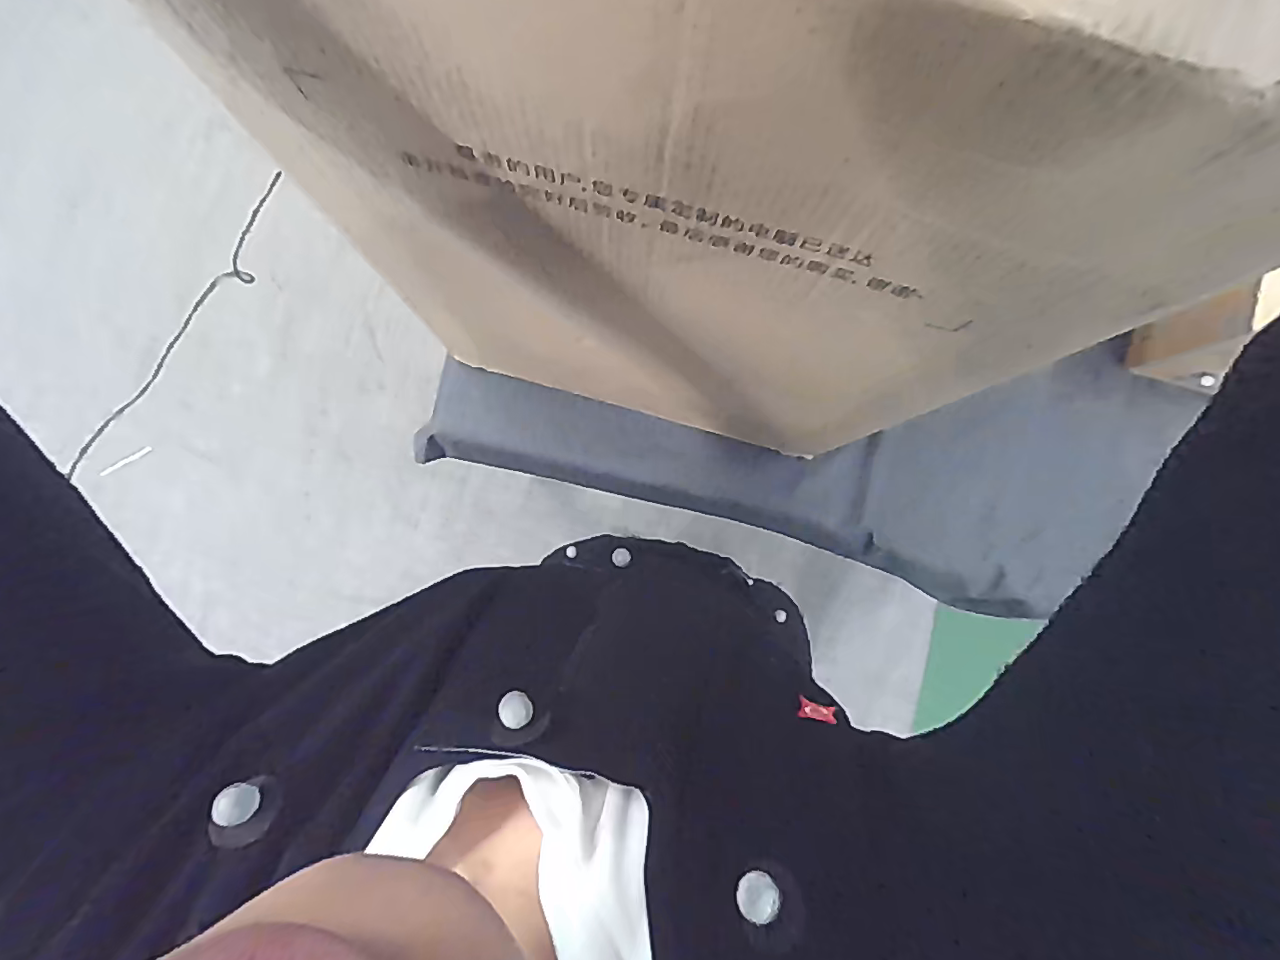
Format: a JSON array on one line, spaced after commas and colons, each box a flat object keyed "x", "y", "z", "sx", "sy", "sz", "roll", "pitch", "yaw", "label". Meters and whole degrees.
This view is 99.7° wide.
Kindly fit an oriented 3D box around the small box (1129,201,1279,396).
[{"x": 0.831, "y": -0.234, "z": 0.741, "sx": 0.168, "sy": 0.176, "sz": 0.179, "roll": 17, "pitch": 85, "yaw": 0, "label": "small box"}]
